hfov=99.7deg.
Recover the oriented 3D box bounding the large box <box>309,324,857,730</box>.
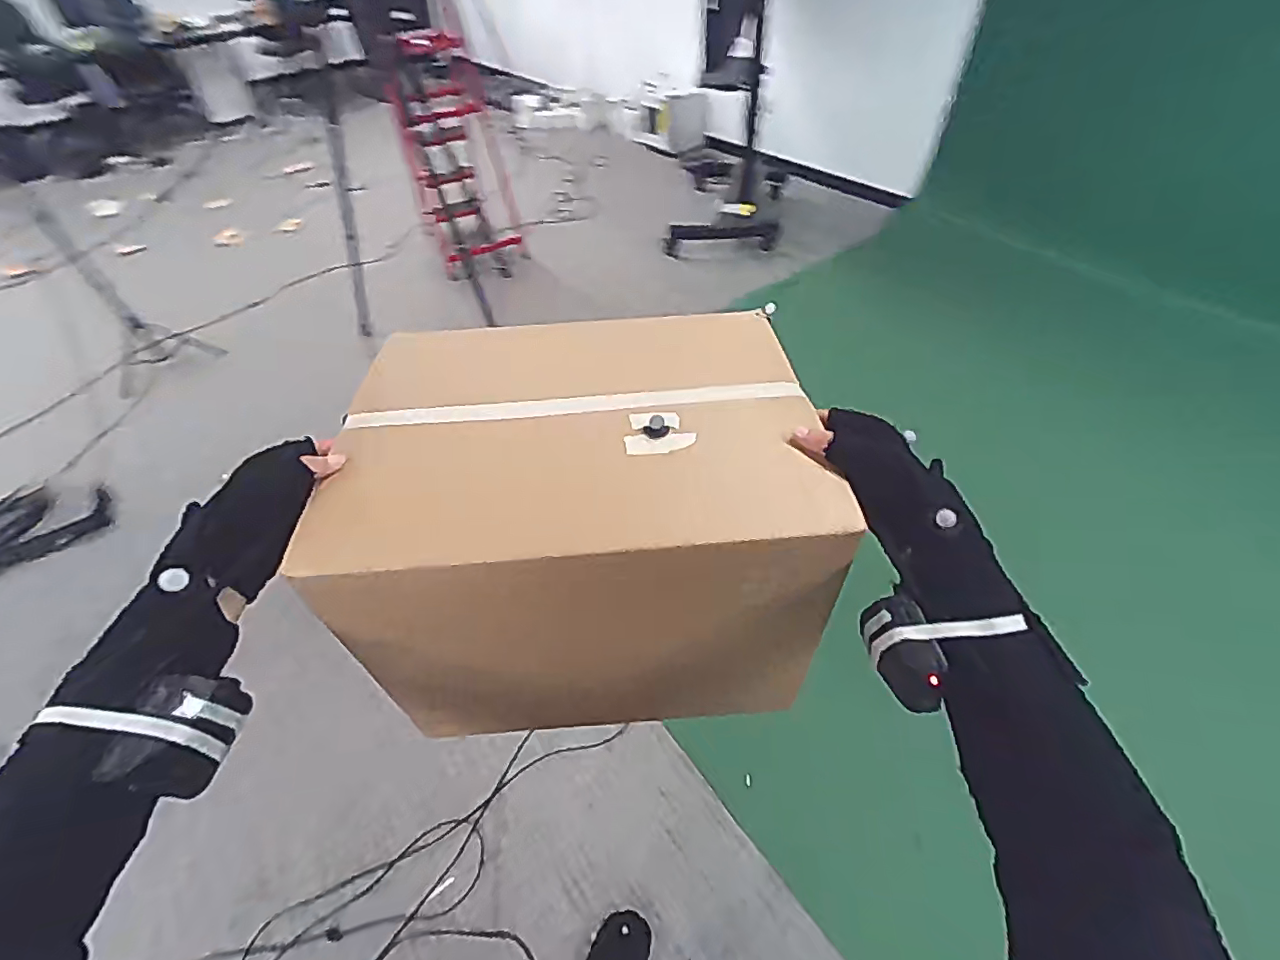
[{"bbox_3d":[-0.046,0.051,0.594,0.408,0.320,0.320,-3,46,-2],"label":"large box"}]
